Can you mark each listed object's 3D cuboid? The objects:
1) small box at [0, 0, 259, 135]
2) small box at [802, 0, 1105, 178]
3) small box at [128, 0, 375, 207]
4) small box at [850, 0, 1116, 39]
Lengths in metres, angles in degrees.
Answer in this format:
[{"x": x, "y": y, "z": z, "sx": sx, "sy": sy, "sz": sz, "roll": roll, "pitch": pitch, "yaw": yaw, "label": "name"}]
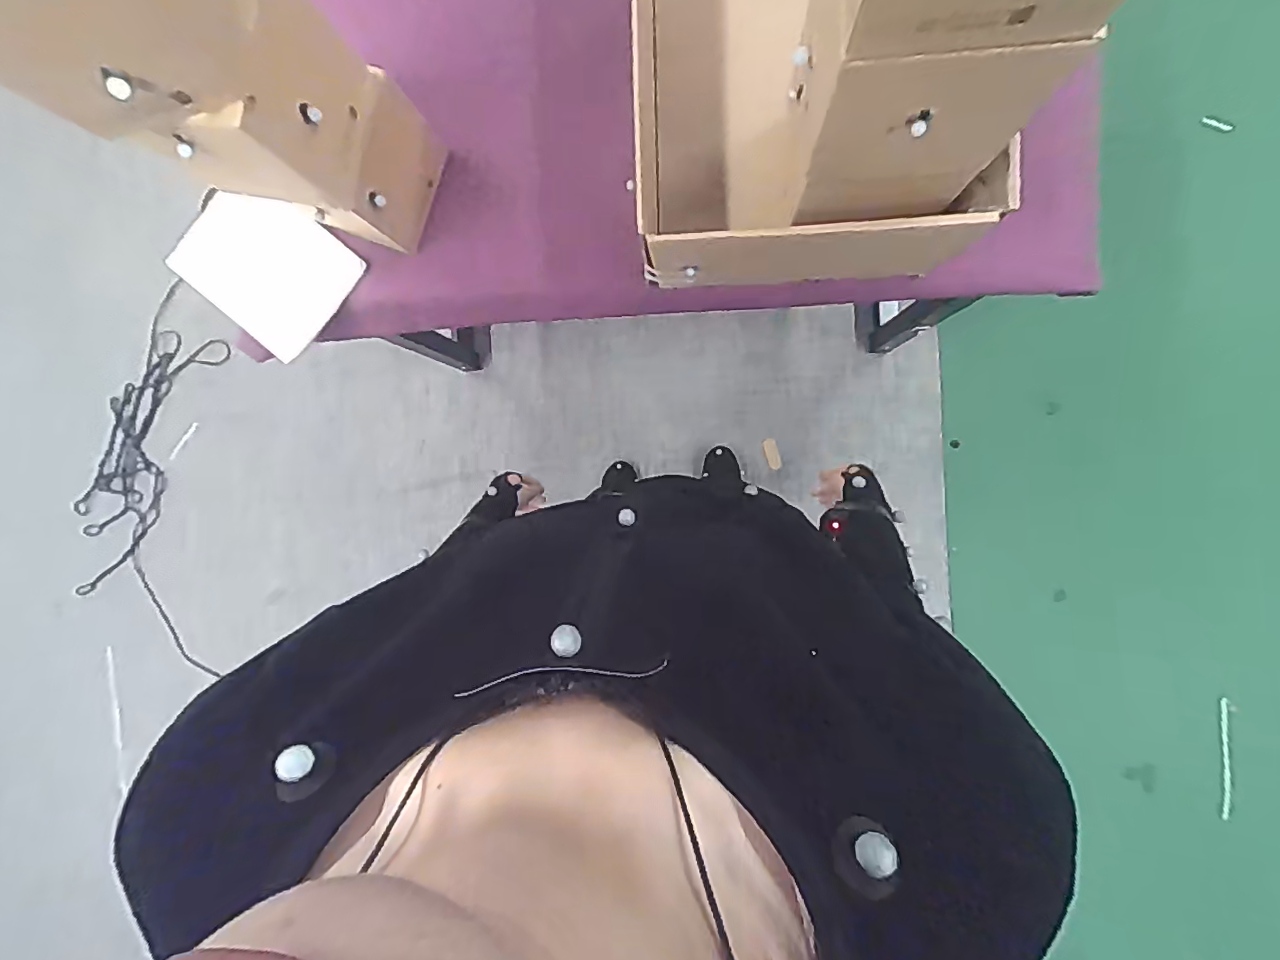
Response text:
[{"x": -0.437, "y": -0.411, "z": 0.409, "sx": 0.168, "sy": 0.176, "sz": 0.179, "roll": -11, "pitch": 91, "yaw": 7, "label": "small box"}, {"x": 0.242, "y": -0.381, "z": 0.454, "sx": 0.179, "sy": 0.176, "sz": 0.168, "roll": 1, "pitch": 91, "yaw": 8, "label": "small box"}, {"x": -0.414, "y": -0.414, "z": 0.572, "sx": 0.179, "sy": 0.176, "sz": 0.168, "roll": 11, "pitch": 93, "yaw": 6, "label": "small box"}, {"x": 0.219, "y": -0.383, "z": 0.293, "sx": 0.168, "sy": 0.176, "sz": 0.179, "roll": 1, "pitch": 91, "yaw": 7, "label": "small box"}]
